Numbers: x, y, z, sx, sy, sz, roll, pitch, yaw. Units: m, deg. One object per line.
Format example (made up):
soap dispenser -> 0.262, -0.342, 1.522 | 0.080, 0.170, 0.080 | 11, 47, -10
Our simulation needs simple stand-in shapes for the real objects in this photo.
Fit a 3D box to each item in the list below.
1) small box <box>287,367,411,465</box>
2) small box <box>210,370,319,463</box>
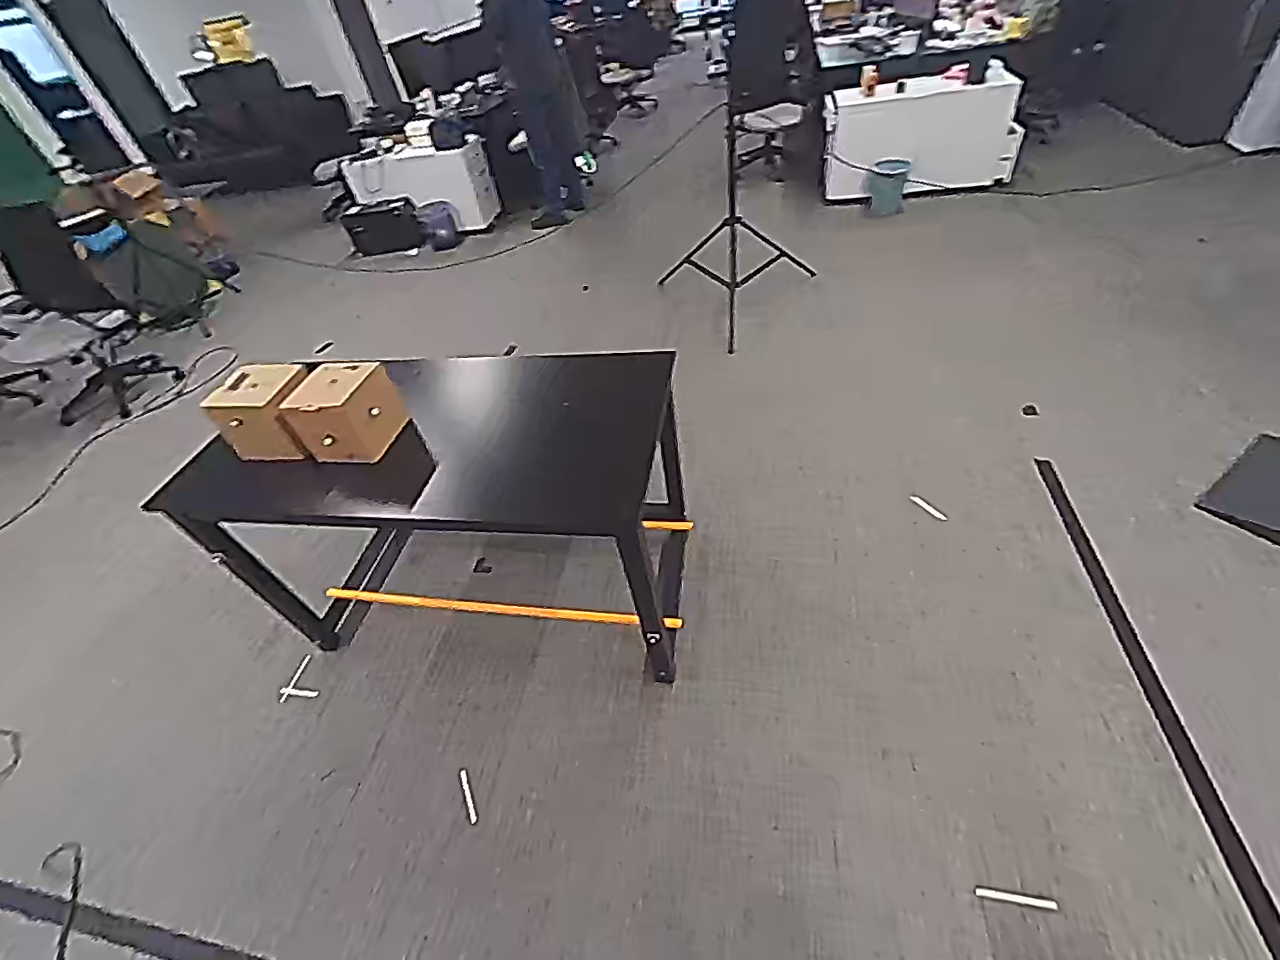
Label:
small box -> -0.686, -0.151, 1.303 | 0.168, 0.176, 0.179 | 2, 46, 13
small box -> -0.897, -0.156, 1.349 | 0.179, 0.176, 0.168 | 0, 45, 10
